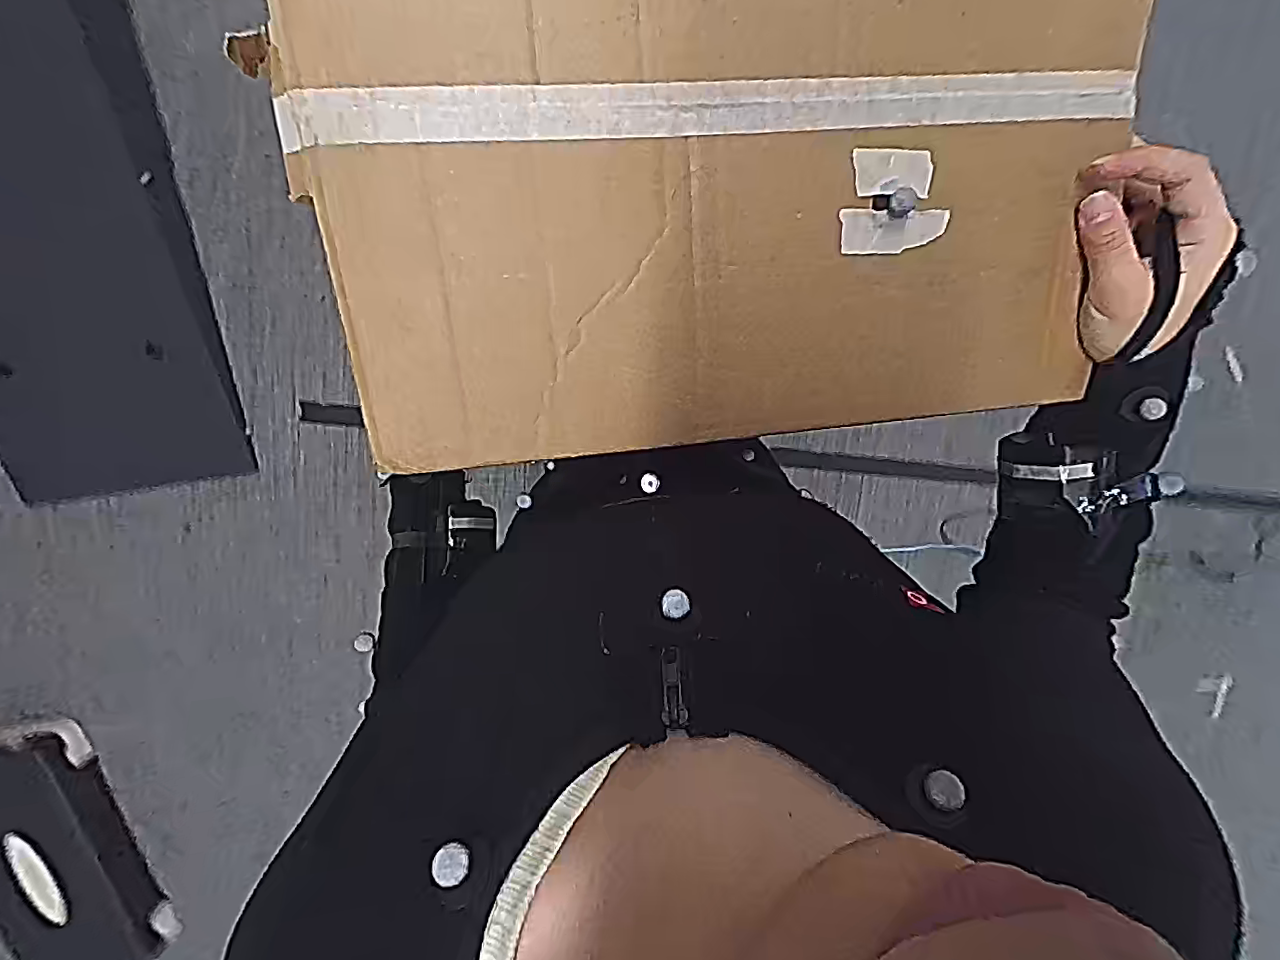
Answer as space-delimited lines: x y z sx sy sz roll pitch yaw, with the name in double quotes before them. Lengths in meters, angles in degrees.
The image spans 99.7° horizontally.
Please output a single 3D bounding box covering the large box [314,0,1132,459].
"large box" 0.033 -0.216 0.406 0.408 0.320 0.320 -6 107 -10
